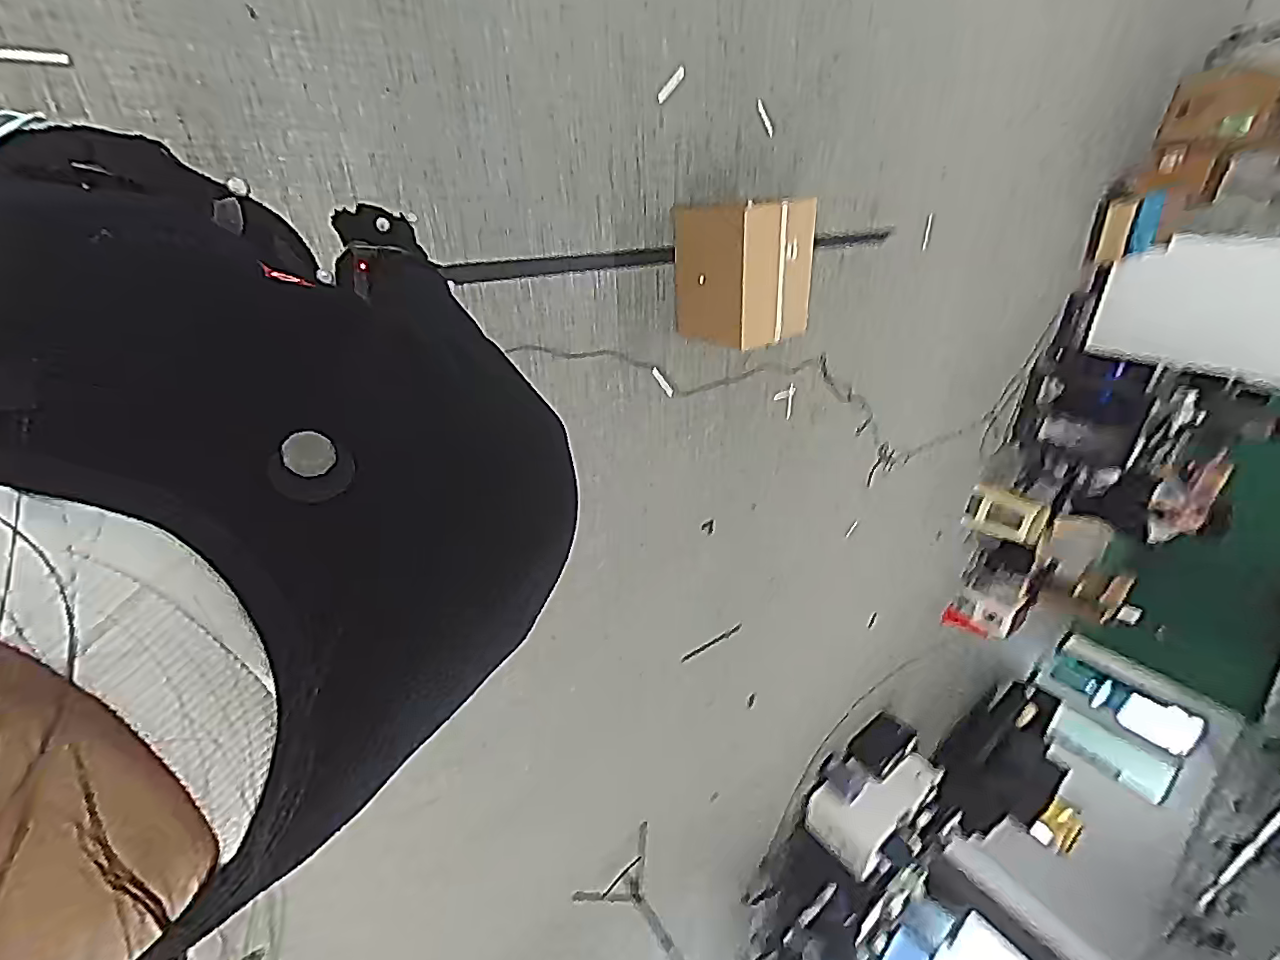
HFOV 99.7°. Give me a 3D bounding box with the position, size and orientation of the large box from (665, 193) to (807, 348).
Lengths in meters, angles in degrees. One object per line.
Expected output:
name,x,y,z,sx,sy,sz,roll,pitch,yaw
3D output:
large box,0.302,-0.675,1.729,0.320,0.320,0.408,-24,124,-30
